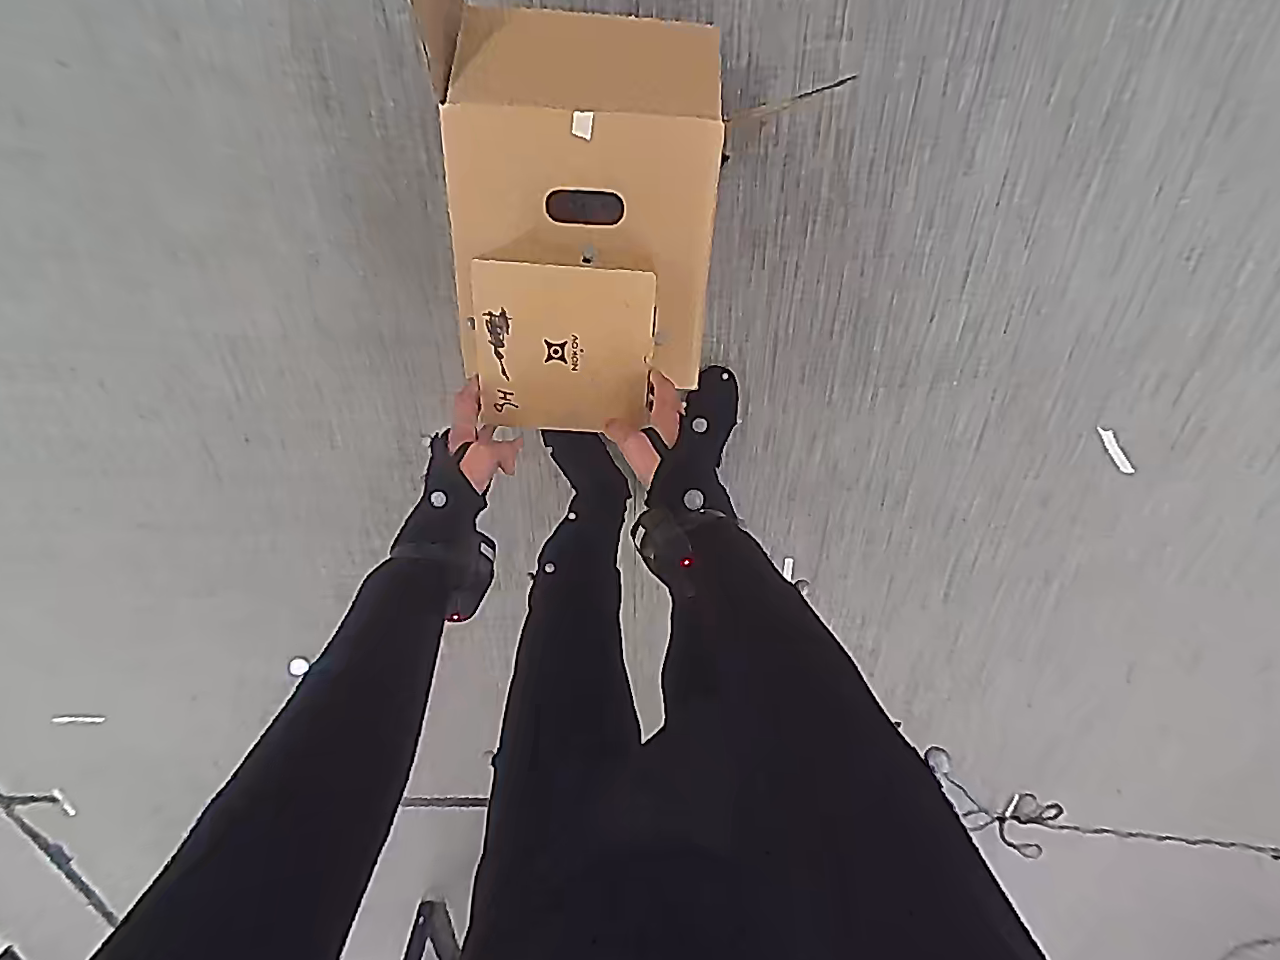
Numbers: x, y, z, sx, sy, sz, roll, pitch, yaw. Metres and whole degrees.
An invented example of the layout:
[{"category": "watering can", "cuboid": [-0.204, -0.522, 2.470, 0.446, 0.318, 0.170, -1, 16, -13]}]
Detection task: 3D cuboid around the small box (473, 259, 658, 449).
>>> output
[{"category": "small box", "cuboid": [-0.078, -0.148, 0.612, 0.179, 0.176, 0.168, 4, 119, -3]}]
